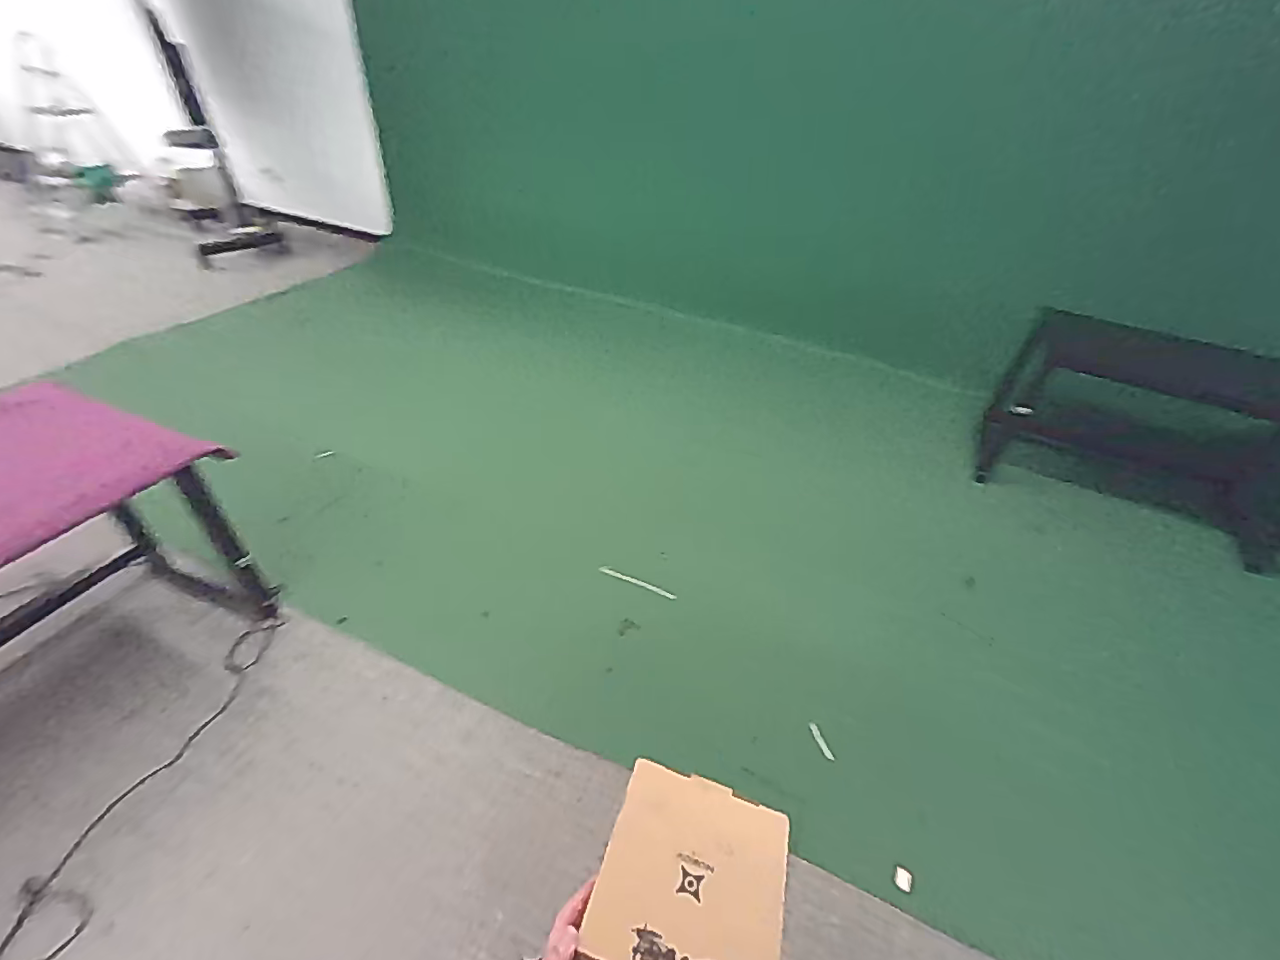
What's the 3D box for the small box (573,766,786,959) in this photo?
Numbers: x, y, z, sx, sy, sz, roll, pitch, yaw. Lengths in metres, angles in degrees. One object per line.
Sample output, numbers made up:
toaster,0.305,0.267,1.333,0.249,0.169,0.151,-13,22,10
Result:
small box,0.035,0.435,0.535,0.168,0.176,0.179,17,32,9
